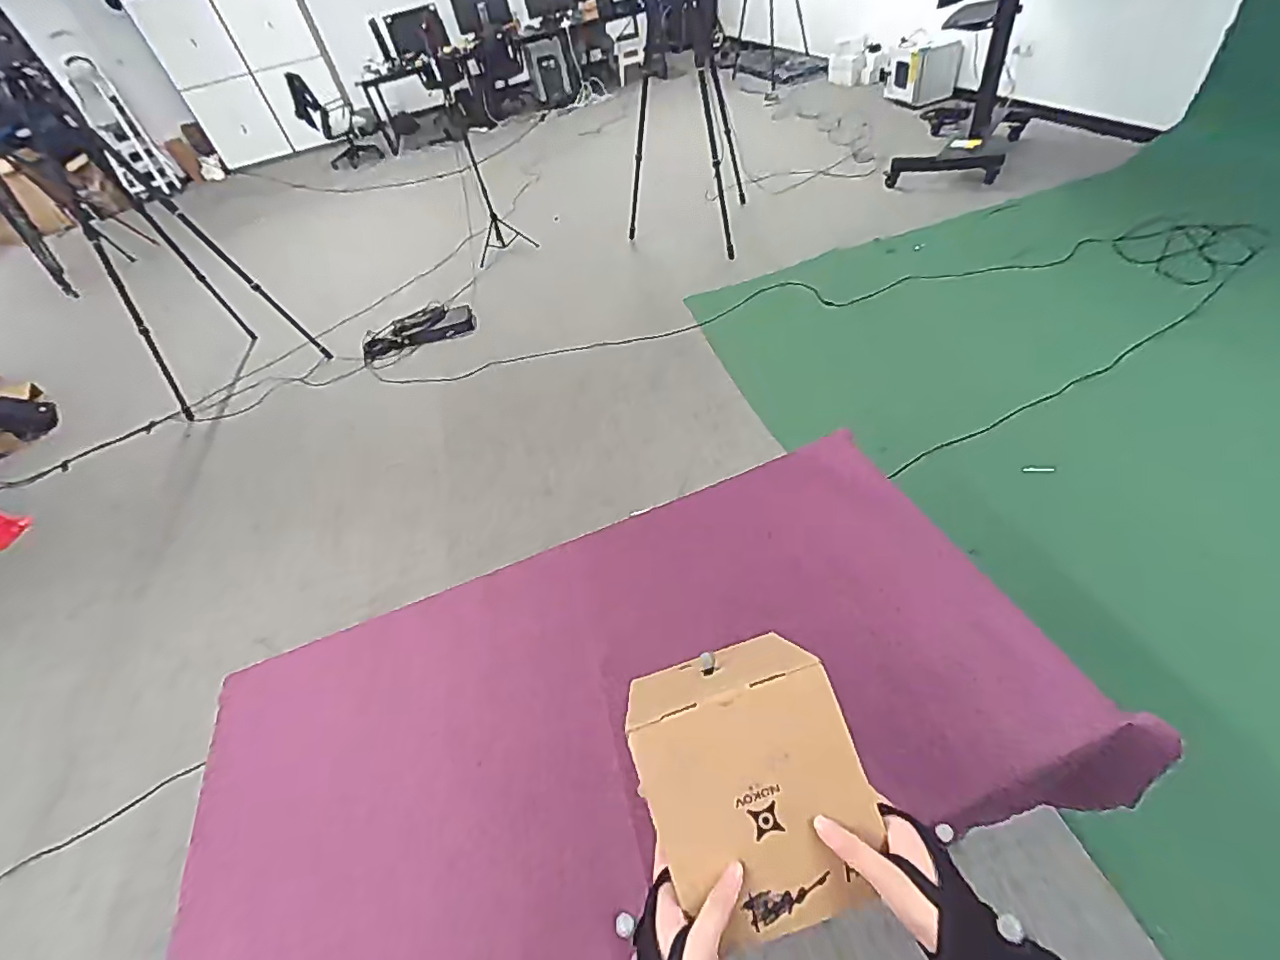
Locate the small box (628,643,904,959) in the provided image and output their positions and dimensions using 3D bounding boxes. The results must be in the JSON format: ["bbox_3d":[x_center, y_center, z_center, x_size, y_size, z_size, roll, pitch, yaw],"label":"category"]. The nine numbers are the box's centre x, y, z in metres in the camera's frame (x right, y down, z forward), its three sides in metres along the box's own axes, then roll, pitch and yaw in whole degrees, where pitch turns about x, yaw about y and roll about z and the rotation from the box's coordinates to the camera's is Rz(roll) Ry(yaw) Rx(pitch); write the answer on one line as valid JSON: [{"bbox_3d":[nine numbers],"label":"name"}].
[{"bbox_3d":[0.094,0.259,0.487,0.168,0.176,0.179,-19,82,-1],"label":"small box"}]
